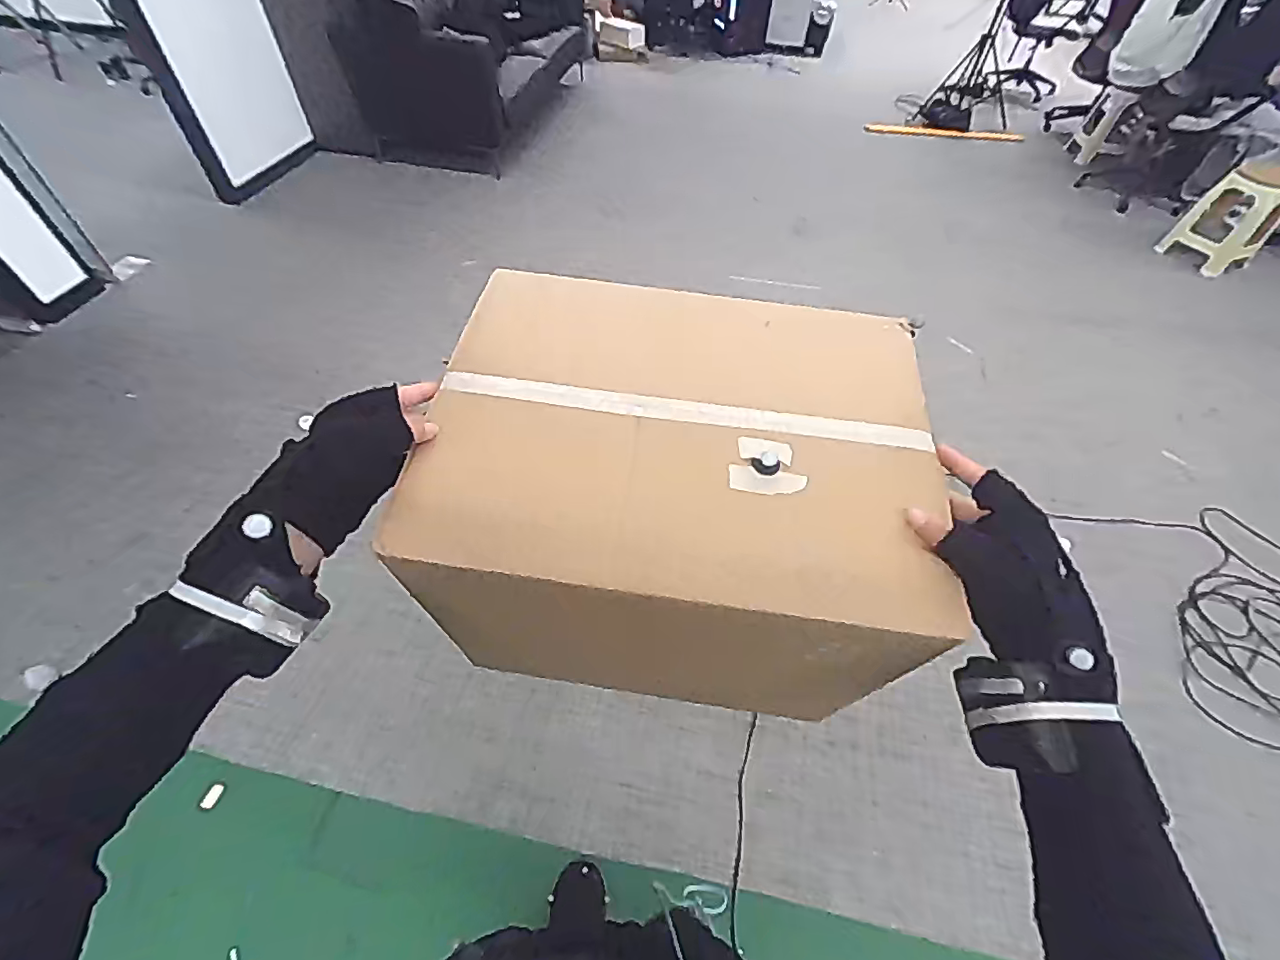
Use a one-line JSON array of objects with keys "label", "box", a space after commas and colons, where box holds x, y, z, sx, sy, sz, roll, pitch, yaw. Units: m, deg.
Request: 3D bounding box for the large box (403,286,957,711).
[{"label": "large box", "box": [0.034, 0.034, 0.583, 0.408, 0.320, 0.320, 8, 57, 2]}]
